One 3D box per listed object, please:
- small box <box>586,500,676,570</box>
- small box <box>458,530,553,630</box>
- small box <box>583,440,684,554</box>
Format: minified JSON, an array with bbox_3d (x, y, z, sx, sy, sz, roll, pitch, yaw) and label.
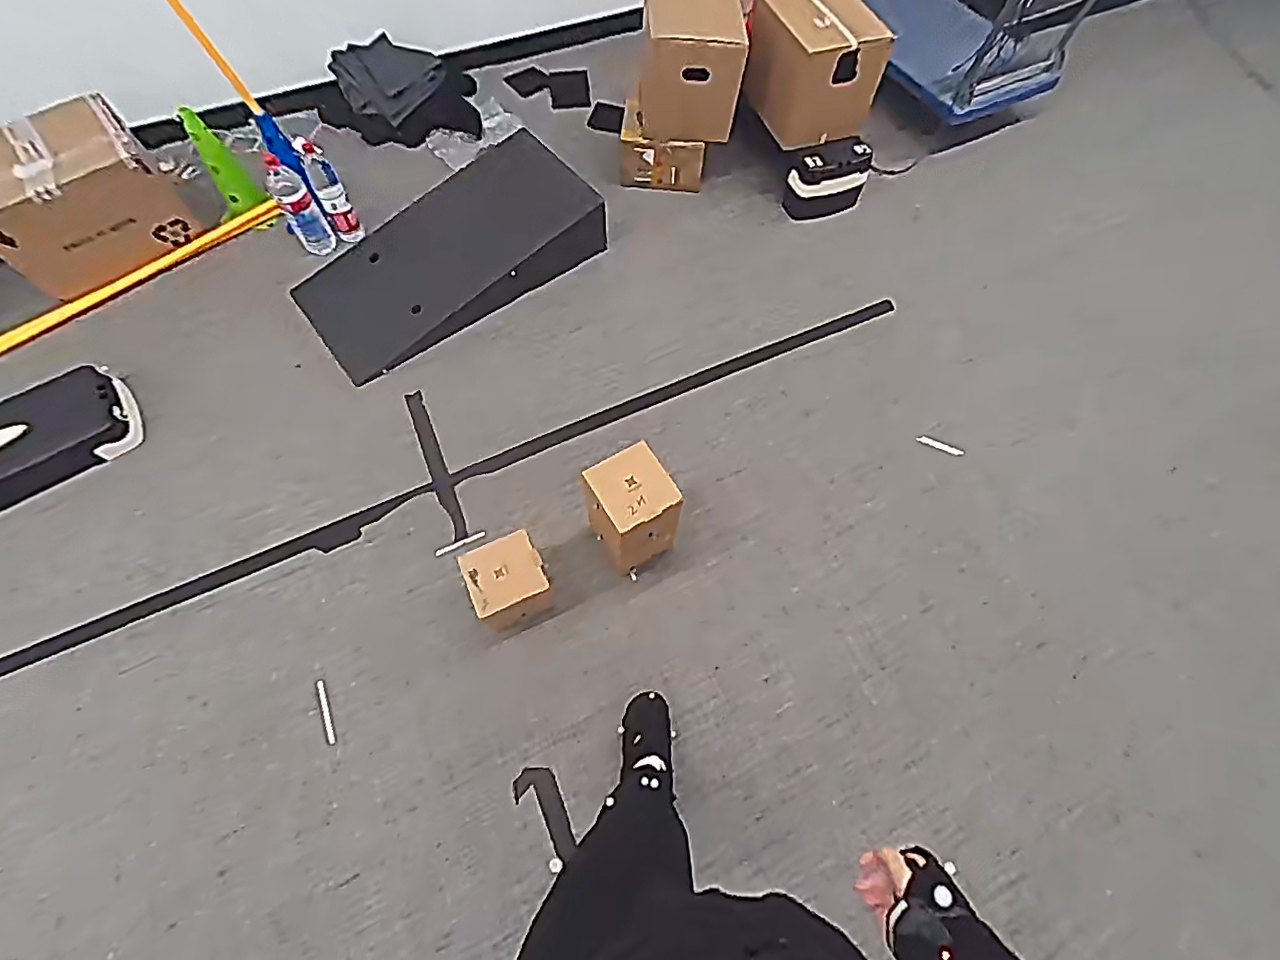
[{"bbox_3d":[-0.024,0.116,1.403,0.168,0.176,0.179,-29,68,-14],"label":"small box"},{"bbox_3d":[-0.323,0.250,1.330,0.179,0.176,0.168,-23,67,-12],"label":"small box"},{"bbox_3d":[-0.019,0.045,1.254,0.168,0.176,0.179,-29,69,-14],"label":"small box"}]
